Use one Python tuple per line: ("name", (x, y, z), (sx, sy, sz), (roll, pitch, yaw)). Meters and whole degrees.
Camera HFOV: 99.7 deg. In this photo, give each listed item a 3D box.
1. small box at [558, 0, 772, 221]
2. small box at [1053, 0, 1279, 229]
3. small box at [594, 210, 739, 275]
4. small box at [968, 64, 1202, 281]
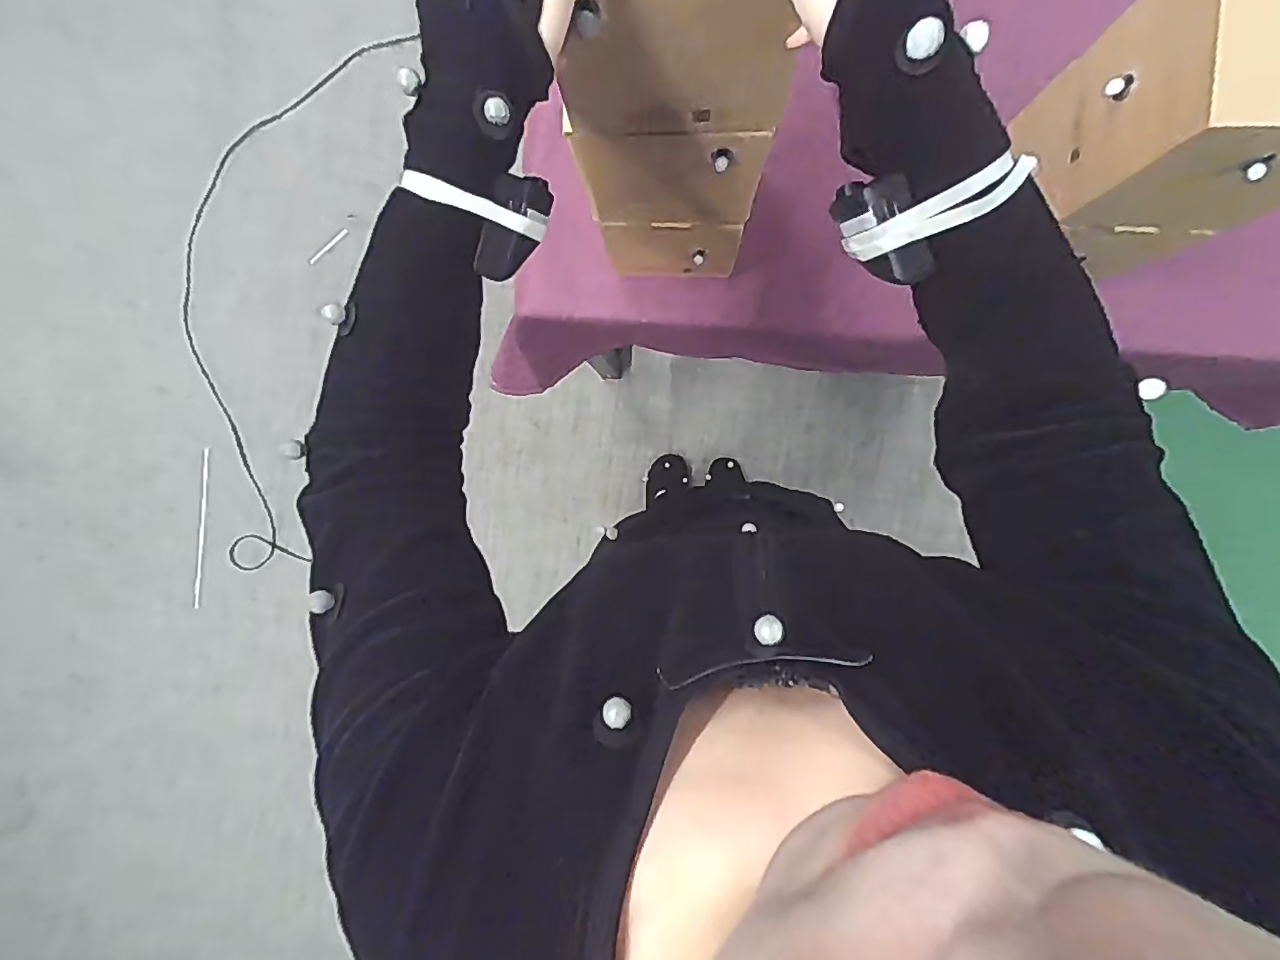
("small box", (0.024, -0.367, 0.521), (0.179, 0.176, 0.168), (1, 92, 2))
("small box", (0.520, -0.345, 0.489), (0.179, 0.176, 0.168), (4, 93, 3))
("small box", (0.039, -0.372, 0.683), (0.168, 0.176, 0.179), (3, 92, 3))
("small box", (0.528, -0.354, 0.654), (0.168, 0.176, 0.179), (5, 93, 3))
